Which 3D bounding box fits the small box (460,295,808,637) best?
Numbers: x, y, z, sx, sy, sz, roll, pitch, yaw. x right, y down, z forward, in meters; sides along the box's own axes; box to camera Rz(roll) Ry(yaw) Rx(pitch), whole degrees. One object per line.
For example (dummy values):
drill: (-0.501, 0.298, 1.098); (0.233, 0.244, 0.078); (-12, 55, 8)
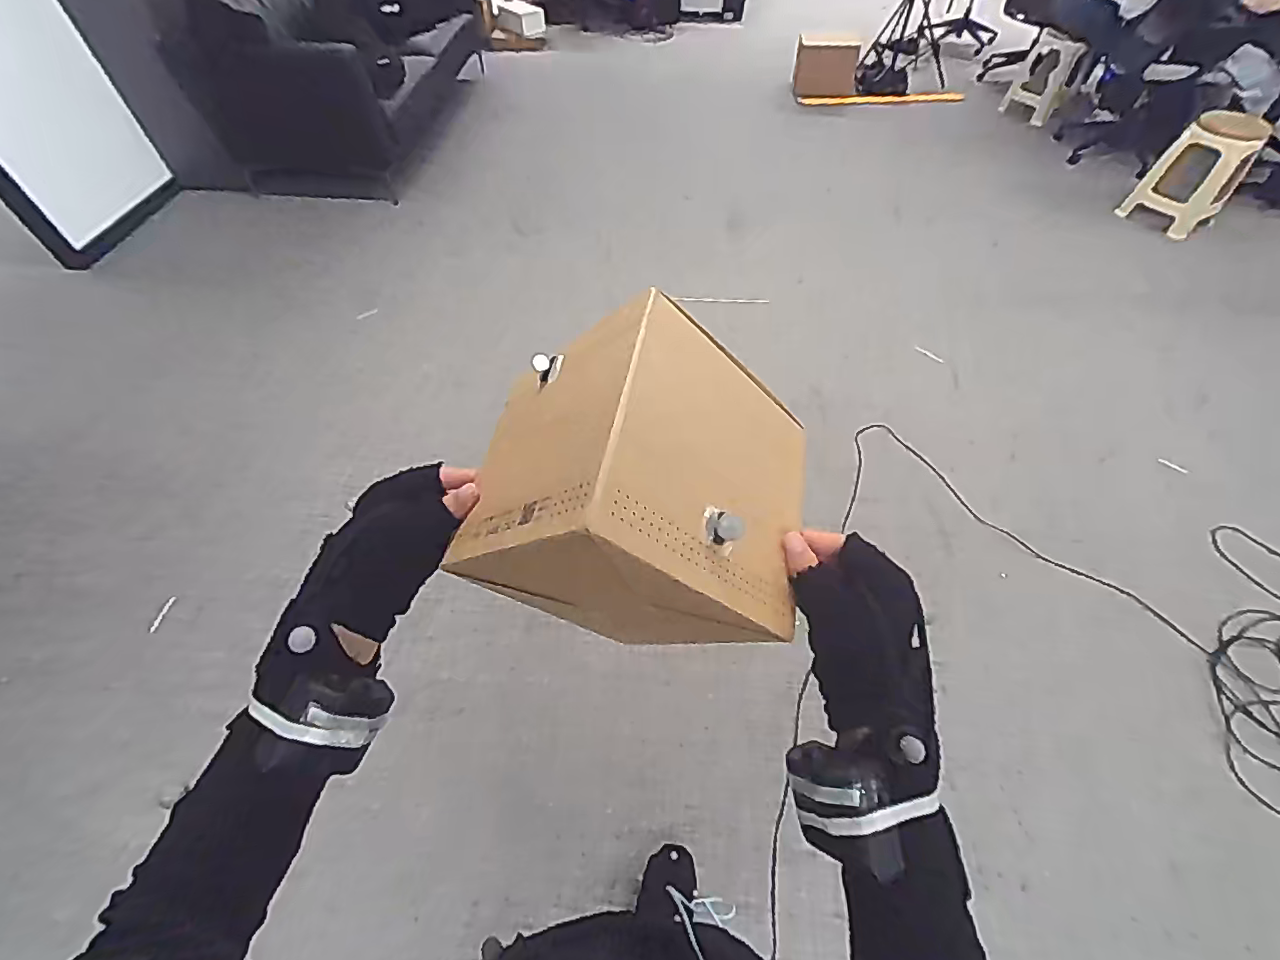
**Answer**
small box: (0.001, 0.011, 0.399); (0.168, 0.179, 0.176); (-18, 49, 44)
